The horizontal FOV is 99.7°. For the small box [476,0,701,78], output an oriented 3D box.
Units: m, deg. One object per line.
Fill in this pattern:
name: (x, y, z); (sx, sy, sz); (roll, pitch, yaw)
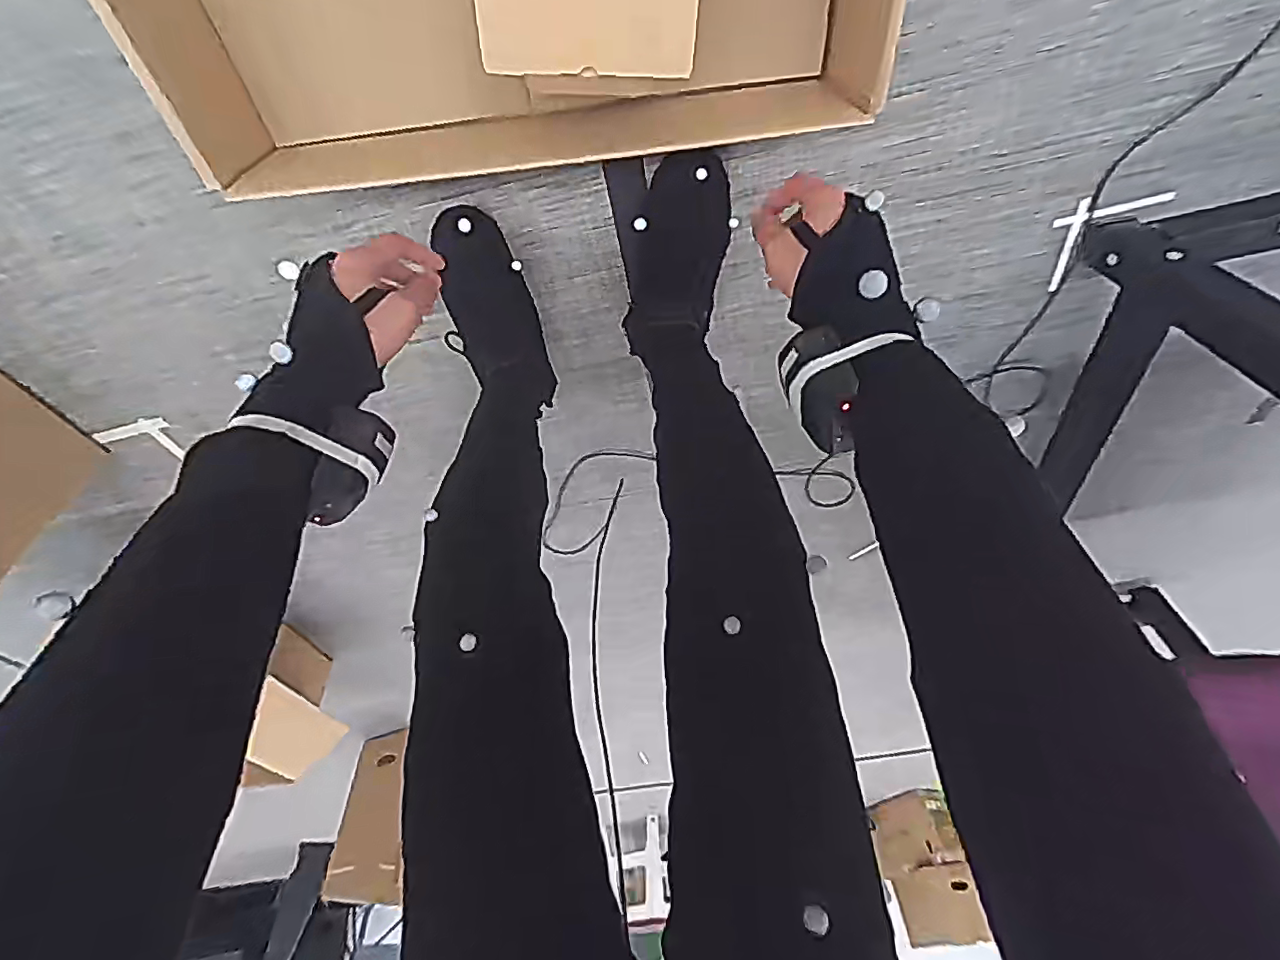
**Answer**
small box: (-0.037, -0.435, 0.412); (0.168, 0.176, 0.179); (0, 136, -4)
